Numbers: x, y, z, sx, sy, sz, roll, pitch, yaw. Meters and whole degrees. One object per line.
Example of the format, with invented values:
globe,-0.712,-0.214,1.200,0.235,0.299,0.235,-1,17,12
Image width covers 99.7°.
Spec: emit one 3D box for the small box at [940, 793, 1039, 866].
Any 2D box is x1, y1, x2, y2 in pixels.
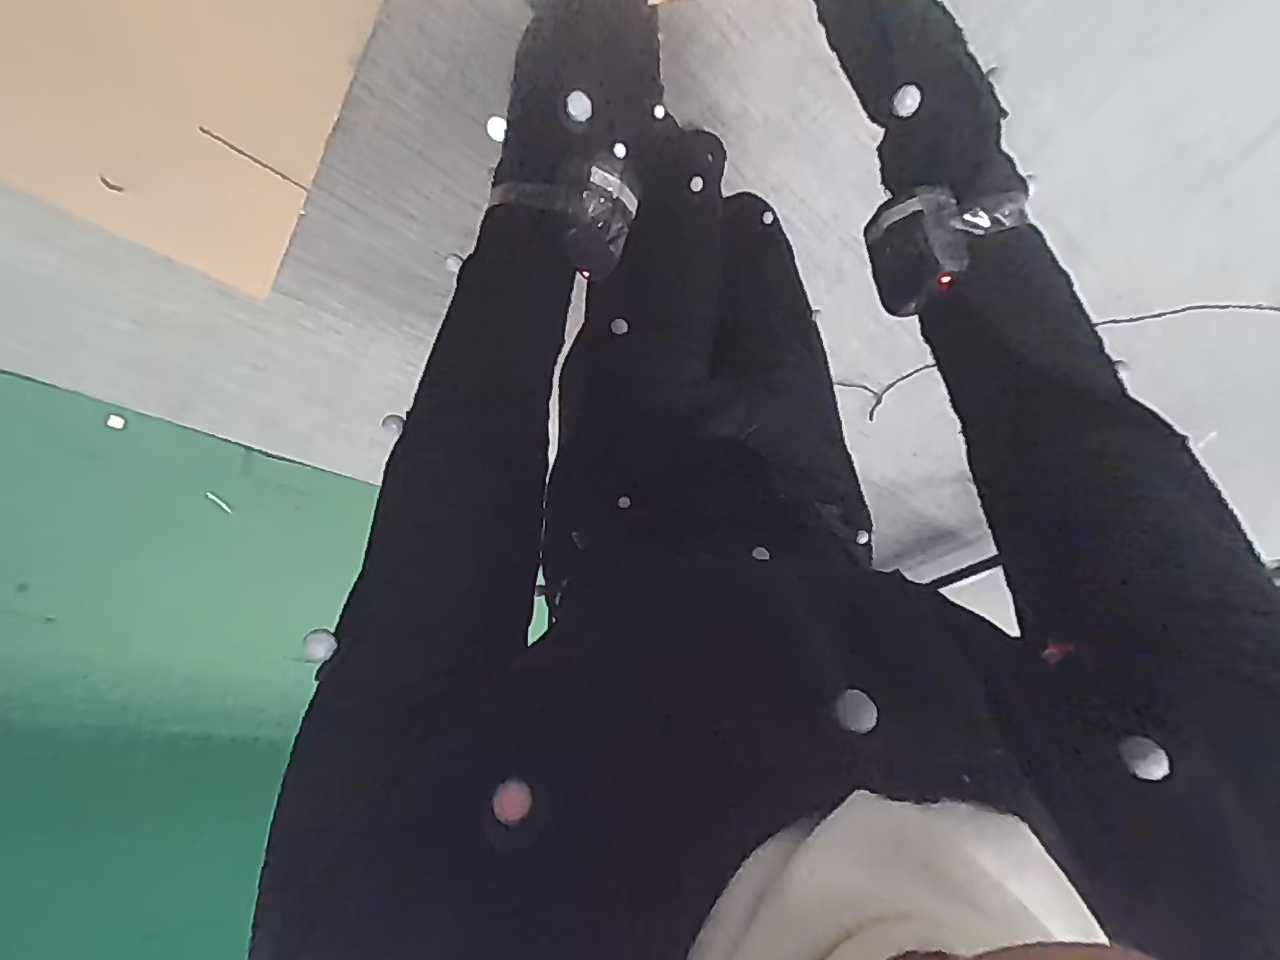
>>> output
small box,1.061,1.067,1.655,0.179,0.176,0.168,19,138,-31
